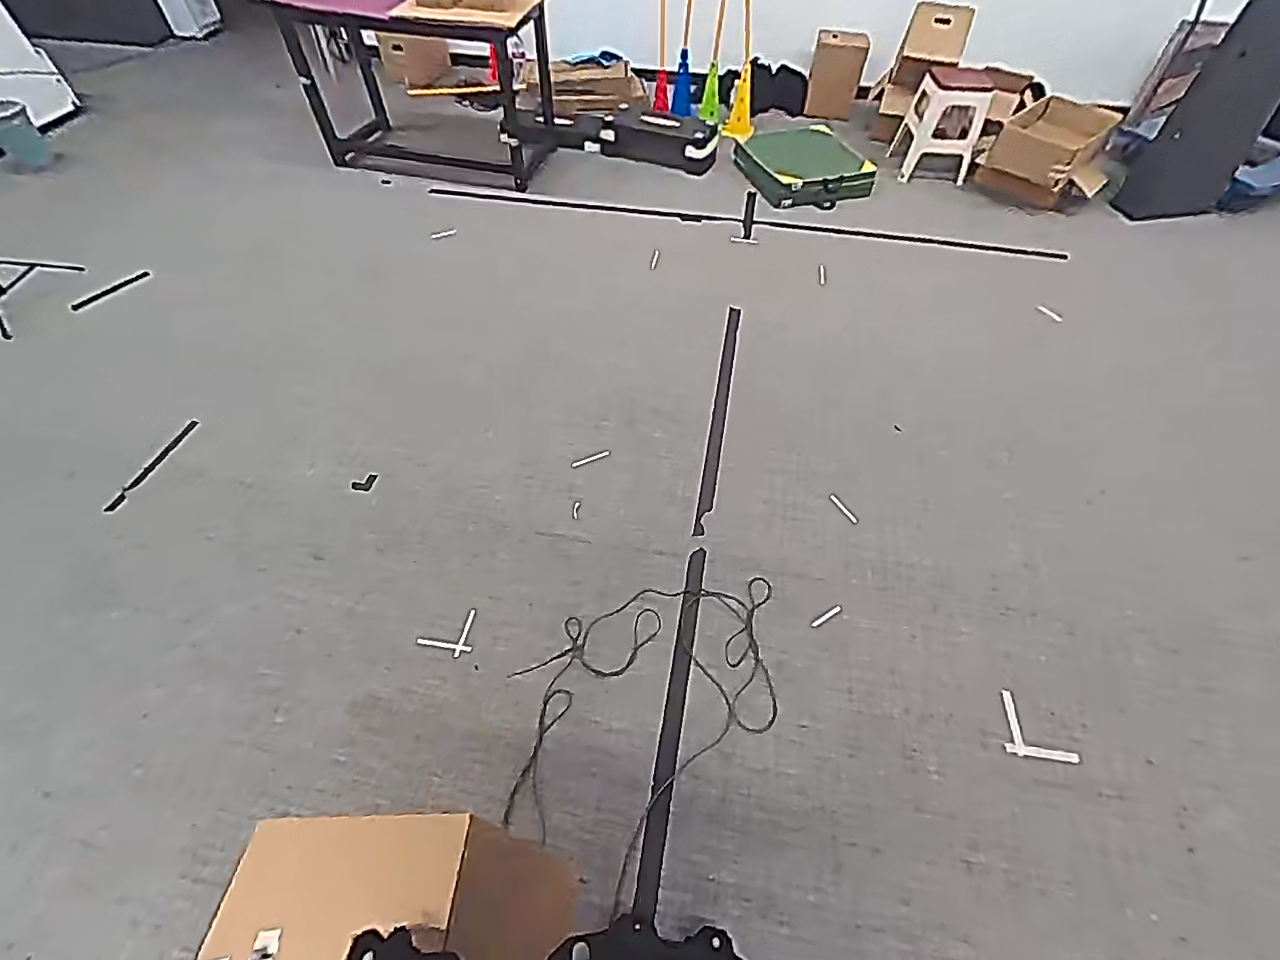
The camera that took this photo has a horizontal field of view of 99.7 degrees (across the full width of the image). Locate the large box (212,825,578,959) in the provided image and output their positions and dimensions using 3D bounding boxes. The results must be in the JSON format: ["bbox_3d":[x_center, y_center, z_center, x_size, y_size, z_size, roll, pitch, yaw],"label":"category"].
[{"bbox_3d":[-0.306,0.679,0.719,0.320,0.408,0.320,-8,45,12],"label":"large box"}]
